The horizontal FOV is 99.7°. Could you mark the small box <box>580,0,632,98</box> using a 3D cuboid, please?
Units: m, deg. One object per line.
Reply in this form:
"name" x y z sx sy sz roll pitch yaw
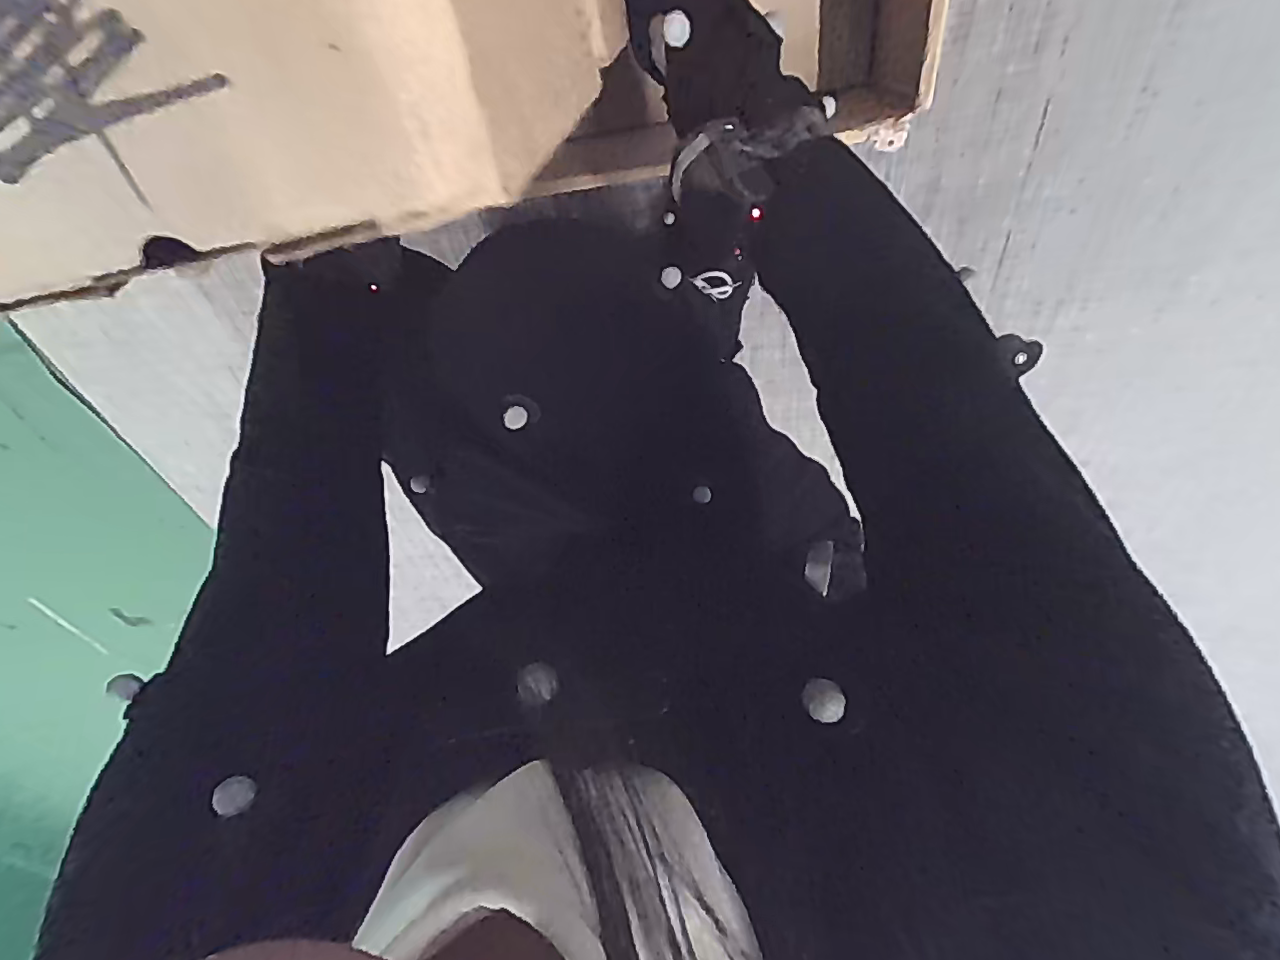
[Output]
"small box" -0.106 -0.260 0.244 0.179 0.176 0.168 -10 131 12
